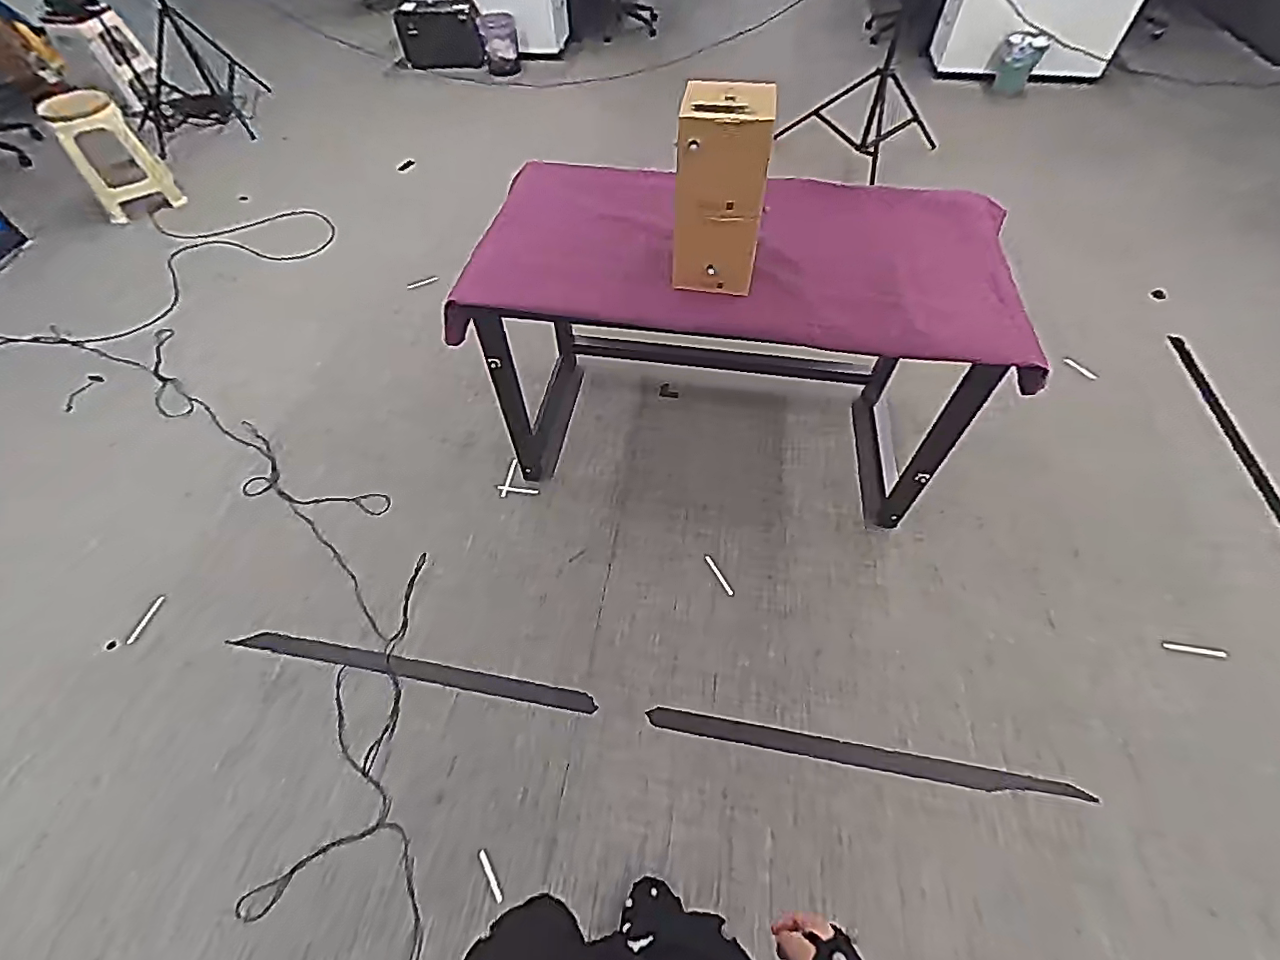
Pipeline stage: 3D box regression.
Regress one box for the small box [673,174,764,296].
[{"bbox_3d":[0.165,-0.524,1.158,0.168,0.176,0.179,9,55,8],"label":"small box"}]
